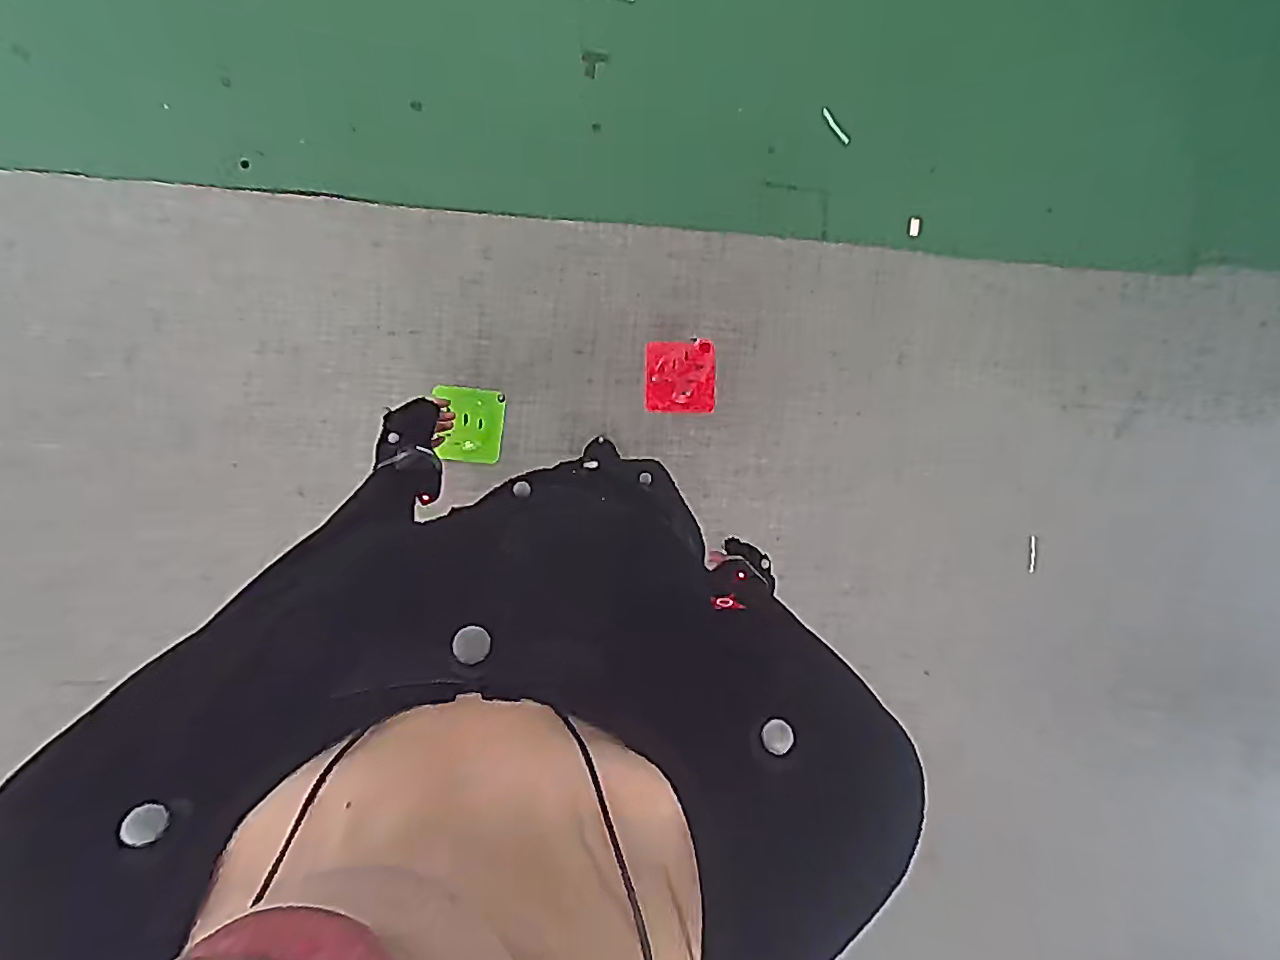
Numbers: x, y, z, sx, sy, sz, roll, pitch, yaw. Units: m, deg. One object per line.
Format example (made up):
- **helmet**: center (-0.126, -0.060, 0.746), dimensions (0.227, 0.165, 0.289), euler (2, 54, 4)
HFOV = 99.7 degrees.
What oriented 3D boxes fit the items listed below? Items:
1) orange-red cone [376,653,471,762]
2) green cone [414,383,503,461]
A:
- **orange-red cone**: center (-0.552, 0.571, 1.301), dimensions (0.198, 0.360, 0.199), euler (8, 88, -6)
- **green cone**: center (-0.469, -0.155, 1.305), dimensions (0.200, 0.368, 0.202), euler (5, 91, -4)
